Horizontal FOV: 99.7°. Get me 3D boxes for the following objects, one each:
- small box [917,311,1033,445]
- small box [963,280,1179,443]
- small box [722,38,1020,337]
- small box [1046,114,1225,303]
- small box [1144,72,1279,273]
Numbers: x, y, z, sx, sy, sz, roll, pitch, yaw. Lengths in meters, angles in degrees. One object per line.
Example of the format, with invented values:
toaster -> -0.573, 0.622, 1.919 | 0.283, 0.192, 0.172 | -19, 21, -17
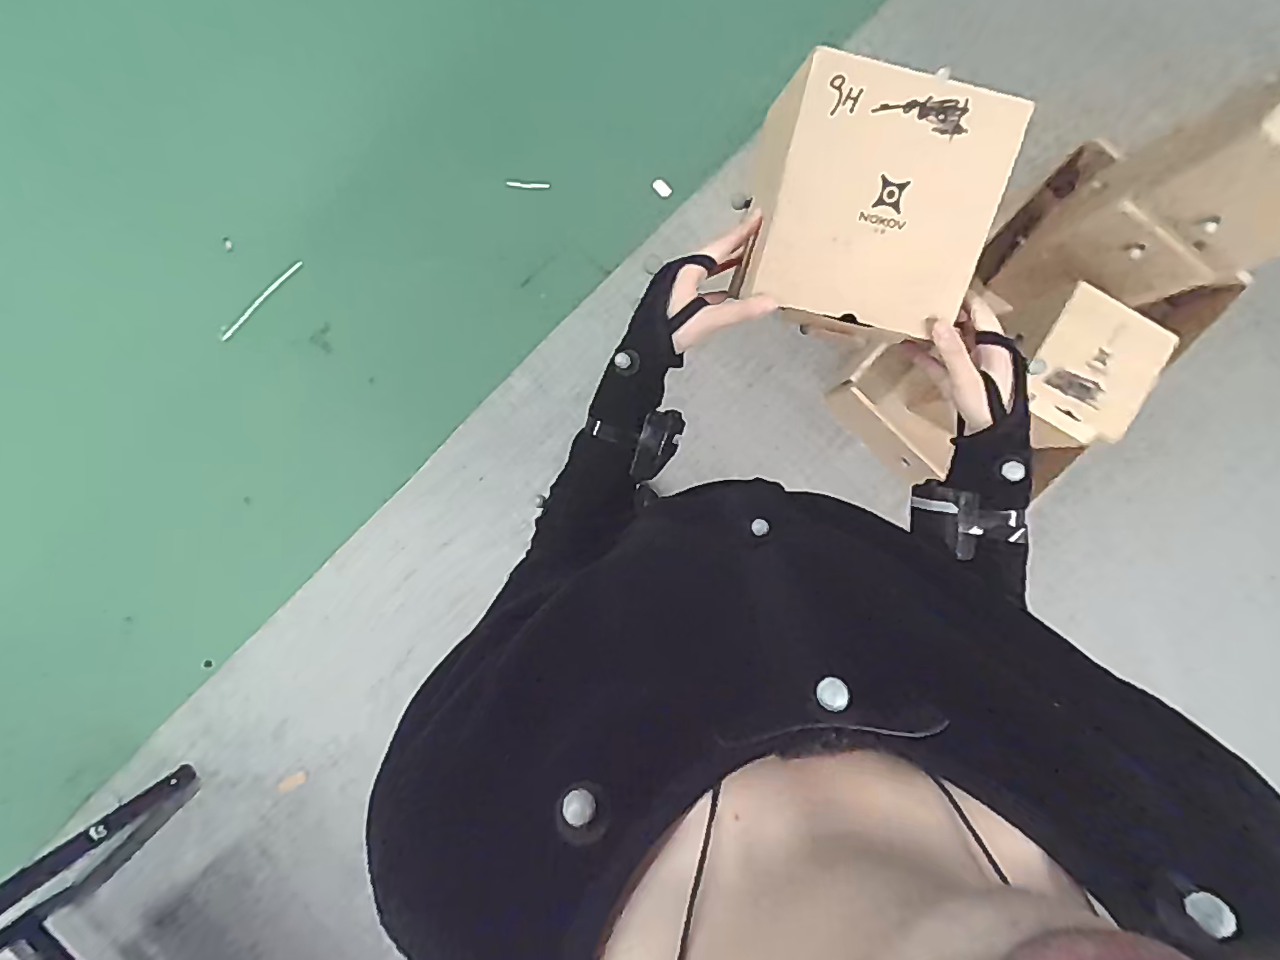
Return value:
small box -> 0.654, -0.176, 1.007 | 0.168, 0.176, 0.179 | 31, 91, 0
small box -> 0.649, -0.169, 0.843 | 0.168, 0.176, 0.179 | 31, 91, 0
small box -> 0.178, -0.242, 0.486 | 0.168, 0.176, 0.179 | 12, 111, -4
small box -> 0.797, -0.397, 0.833 | 0.179, 0.176, 0.168 | 40, 92, 2
small box -> 0.802, -0.397, 0.667 | 0.168, 0.176, 0.179 | 42, 93, 2
